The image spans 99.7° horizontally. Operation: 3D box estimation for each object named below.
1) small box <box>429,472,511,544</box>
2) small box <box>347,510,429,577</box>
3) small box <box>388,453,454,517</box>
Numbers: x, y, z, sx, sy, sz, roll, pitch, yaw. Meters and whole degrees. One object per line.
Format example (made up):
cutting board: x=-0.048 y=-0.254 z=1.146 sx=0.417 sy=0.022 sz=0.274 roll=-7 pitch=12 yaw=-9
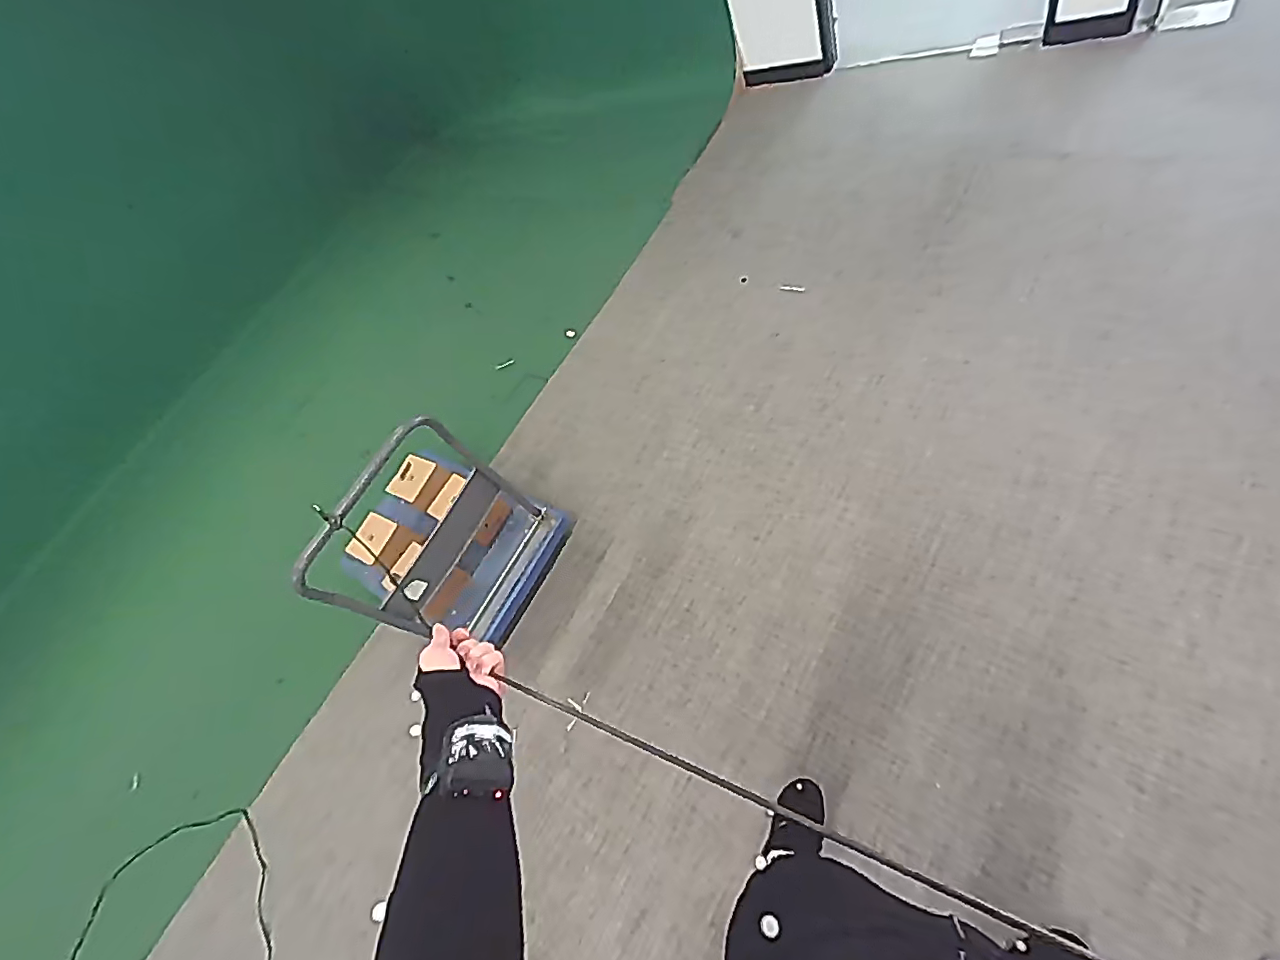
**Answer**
small box: x=-0.594 y=0.102 z=1.898 sx=0.179 sy=0.176 sz=0.168 roll=22 pitch=73 yaw=33
small box: x=-0.914 y=0.236 z=1.974 sx=0.179 sy=0.176 sz=0.168 roll=16 pitch=69 yaw=33
small box: x=-0.804 y=0.022 z=2.048 sx=0.179 sy=0.176 sz=0.168 roll=17 pitch=71 yaw=32
